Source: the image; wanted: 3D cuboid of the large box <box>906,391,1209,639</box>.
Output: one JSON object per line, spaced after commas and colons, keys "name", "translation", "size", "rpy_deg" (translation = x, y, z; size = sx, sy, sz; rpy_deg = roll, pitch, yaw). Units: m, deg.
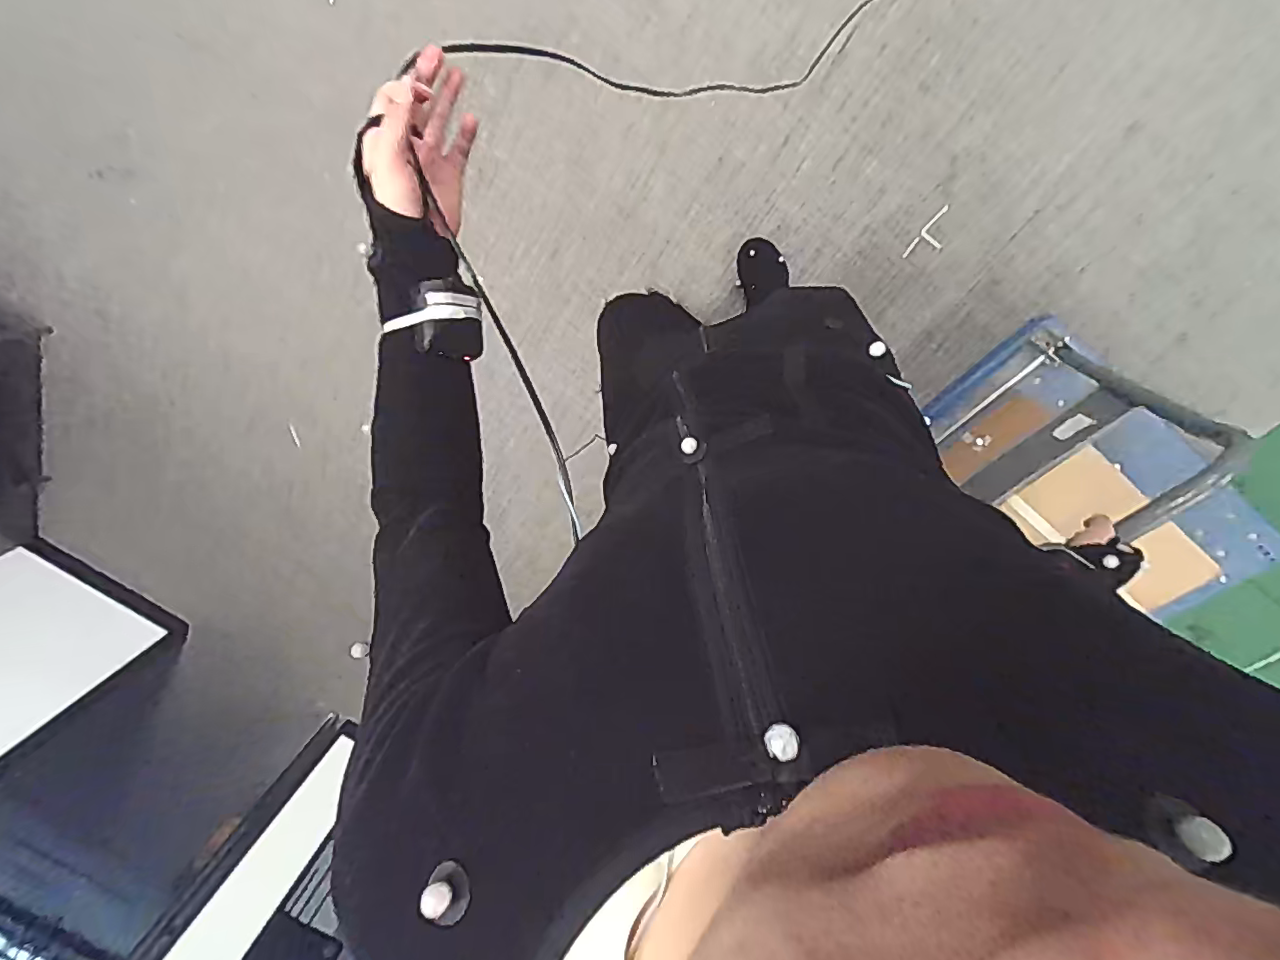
{"name": "large box", "translation": [0.899, 0.069, 1.229], "size": [0.408, 0.320, 0.320], "rpy_deg": [39, 119, -9]}
